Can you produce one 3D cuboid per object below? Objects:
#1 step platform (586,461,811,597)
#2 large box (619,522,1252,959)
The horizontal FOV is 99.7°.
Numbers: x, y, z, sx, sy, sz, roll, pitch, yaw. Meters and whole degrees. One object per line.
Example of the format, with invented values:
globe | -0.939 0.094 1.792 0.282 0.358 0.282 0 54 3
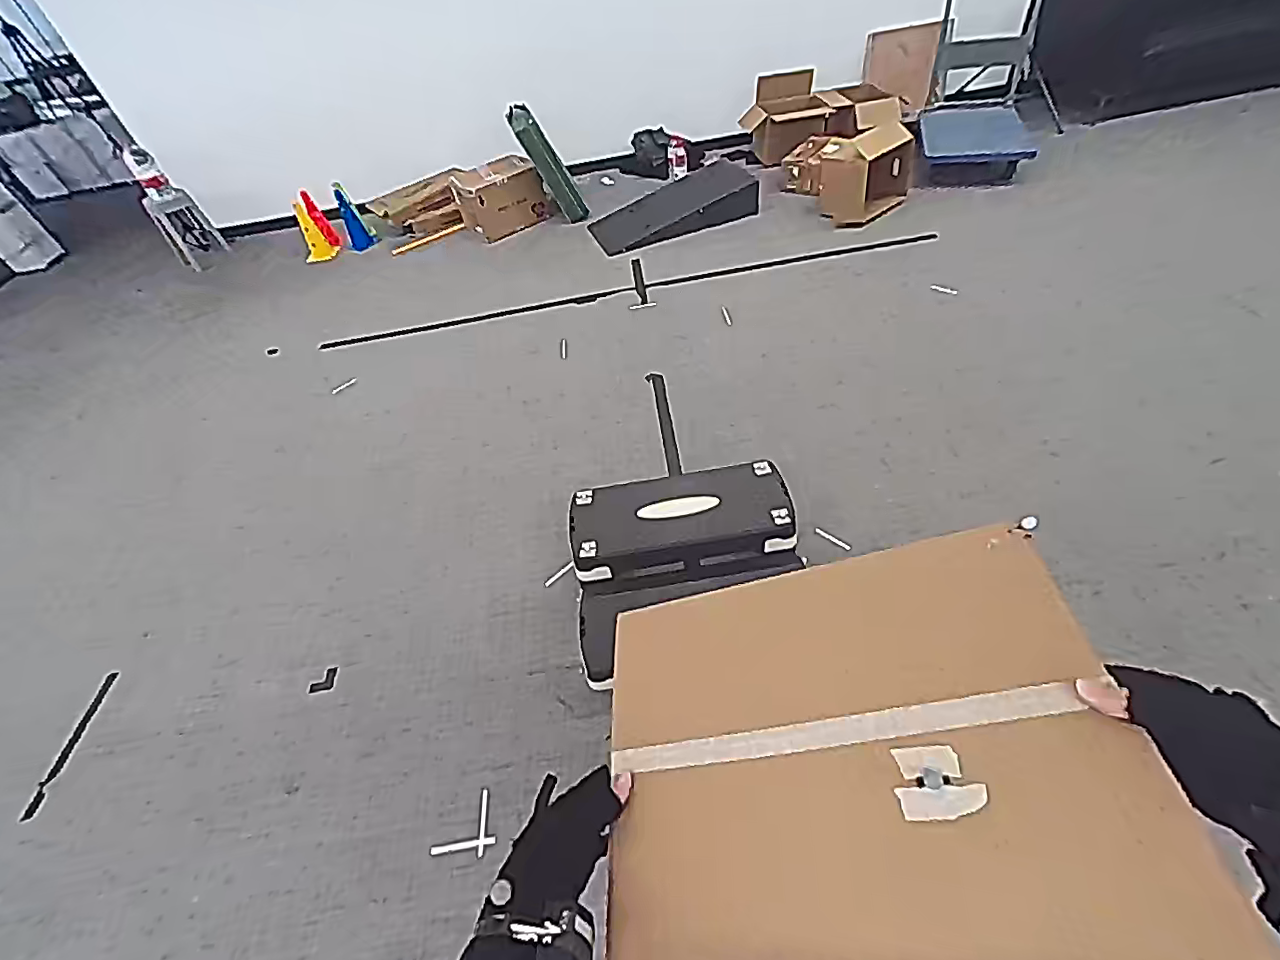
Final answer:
step platform | 0.172 0.145 1.690 0.684 0.204 0.286 -10 47 0
large box | 0.223 0.301 0.557 0.408 0.320 0.320 -18 45 18
